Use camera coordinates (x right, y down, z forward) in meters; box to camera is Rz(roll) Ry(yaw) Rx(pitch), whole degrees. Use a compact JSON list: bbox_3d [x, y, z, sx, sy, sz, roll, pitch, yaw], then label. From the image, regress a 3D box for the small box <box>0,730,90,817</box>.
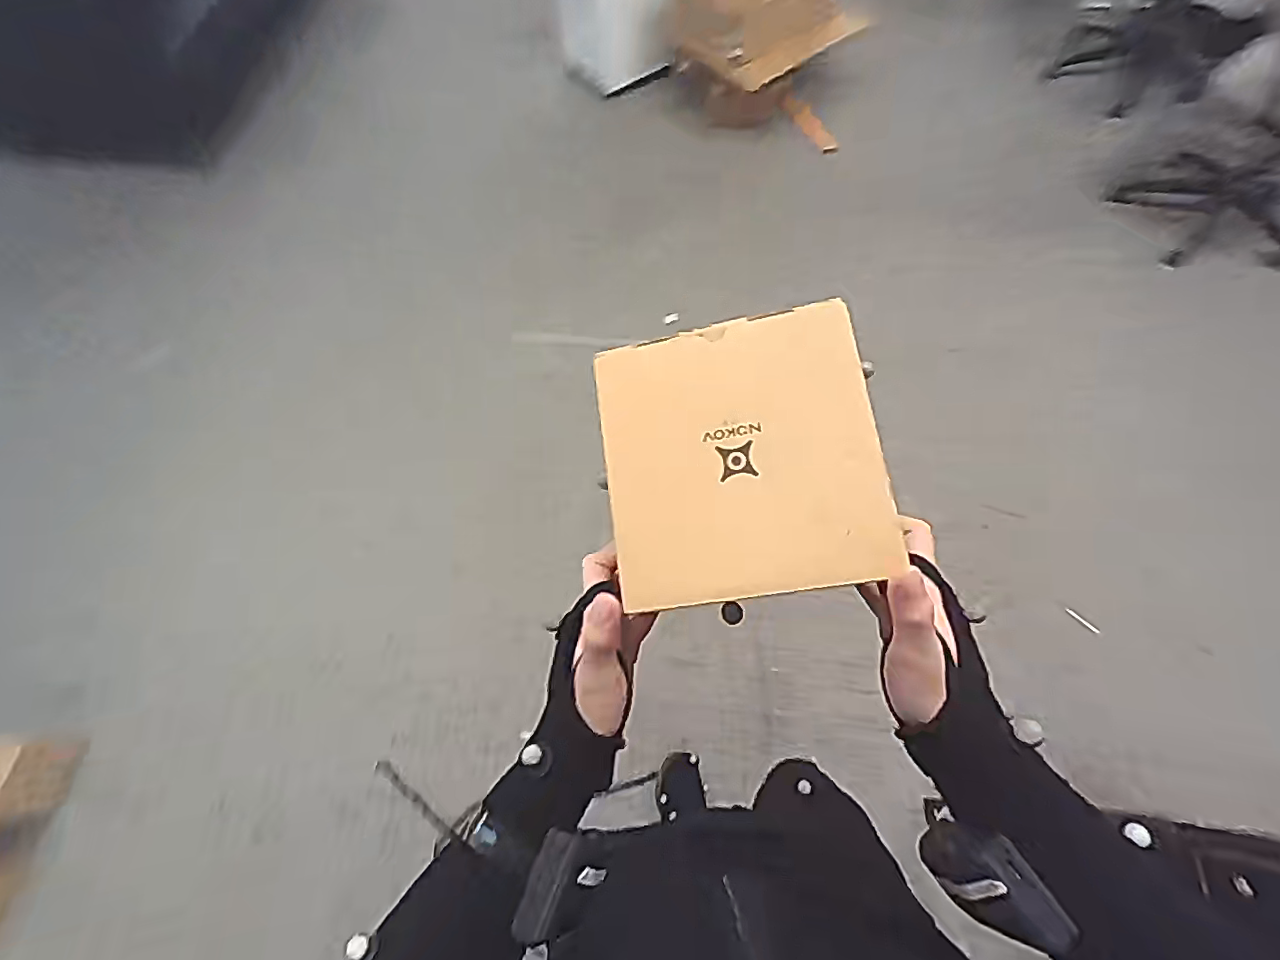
[{"bbox_3d":[-1.539,0.714,1.329,0.179,0.176,0.168,6,65,5],"label":"small box"}]
